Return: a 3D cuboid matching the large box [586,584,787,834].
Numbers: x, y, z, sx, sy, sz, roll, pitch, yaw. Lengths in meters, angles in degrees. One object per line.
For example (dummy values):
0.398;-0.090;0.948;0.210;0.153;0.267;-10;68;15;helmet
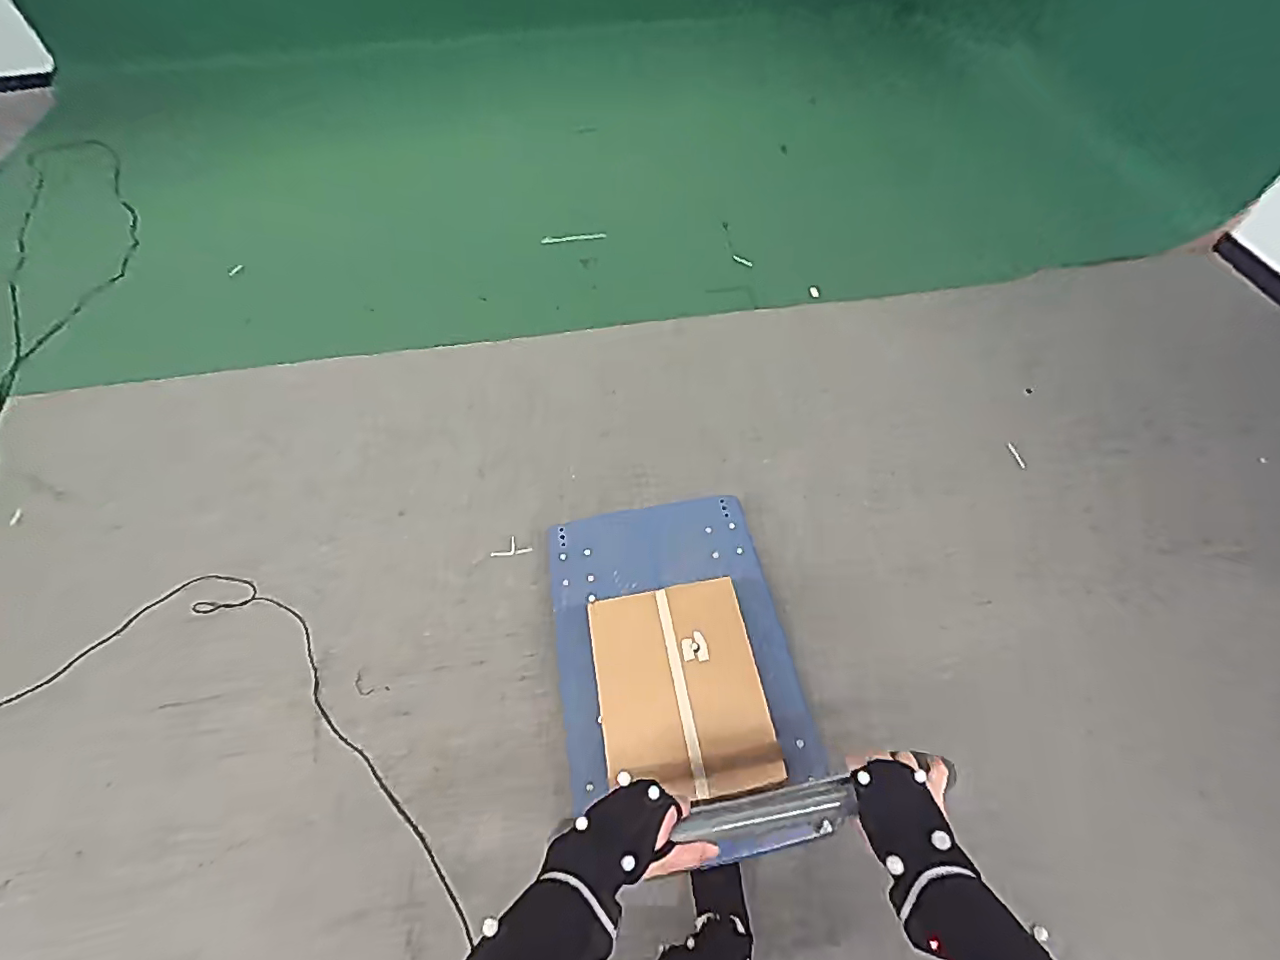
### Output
0.079;0.493;1.165;0.320;0.320;0.408;-9;55;-5;large box
